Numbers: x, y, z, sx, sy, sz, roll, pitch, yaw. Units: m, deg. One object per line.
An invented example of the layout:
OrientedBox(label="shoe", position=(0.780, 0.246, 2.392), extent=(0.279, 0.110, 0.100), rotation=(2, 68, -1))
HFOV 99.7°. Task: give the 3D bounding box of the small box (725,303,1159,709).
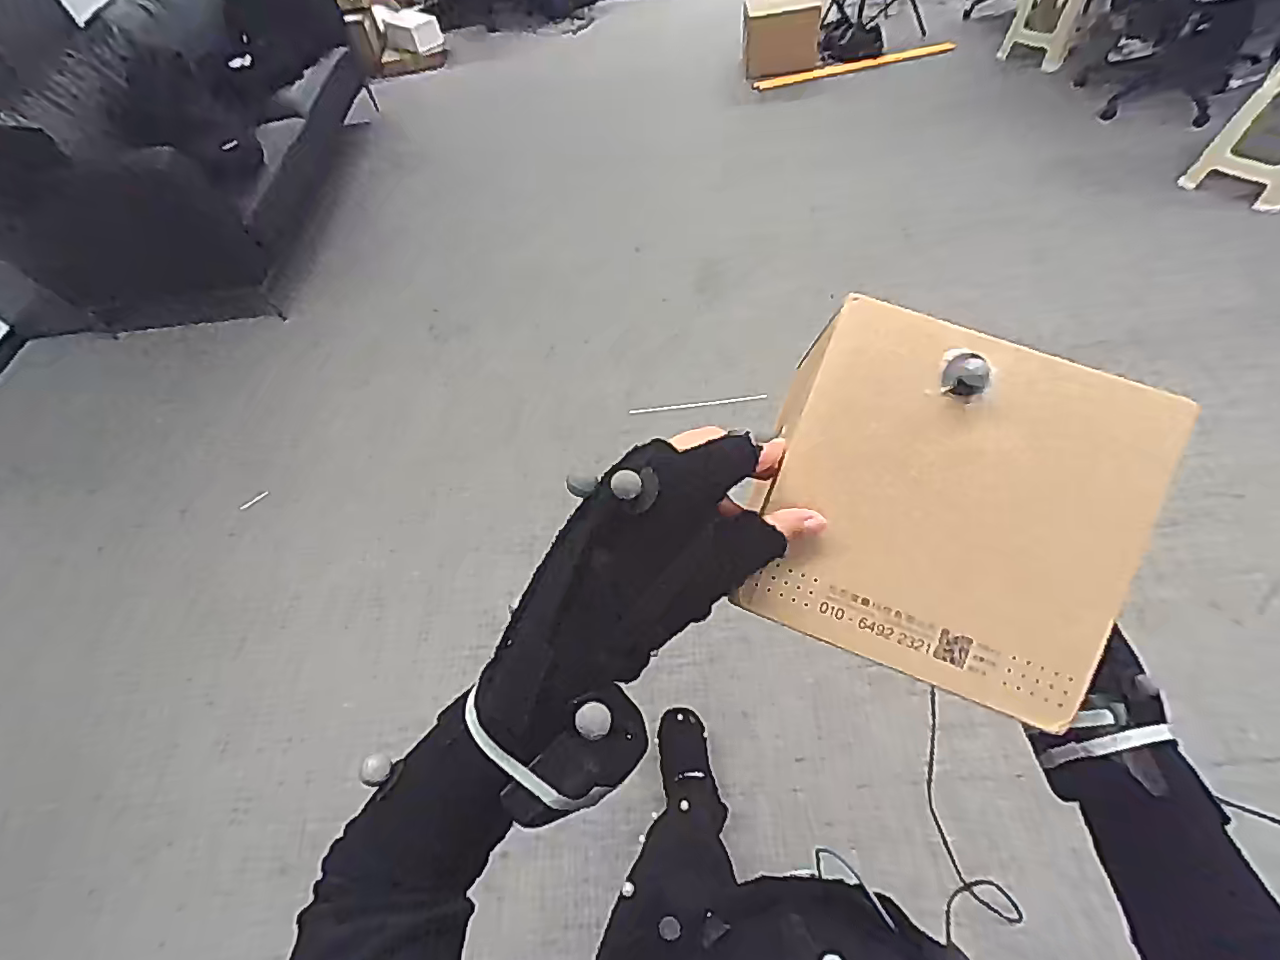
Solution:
OrientedBox(label="small box", position=(0.160, 0.017, 0.354), extent=(0.168, 0.179, 0.176), rotation=(20, 89, 9))
